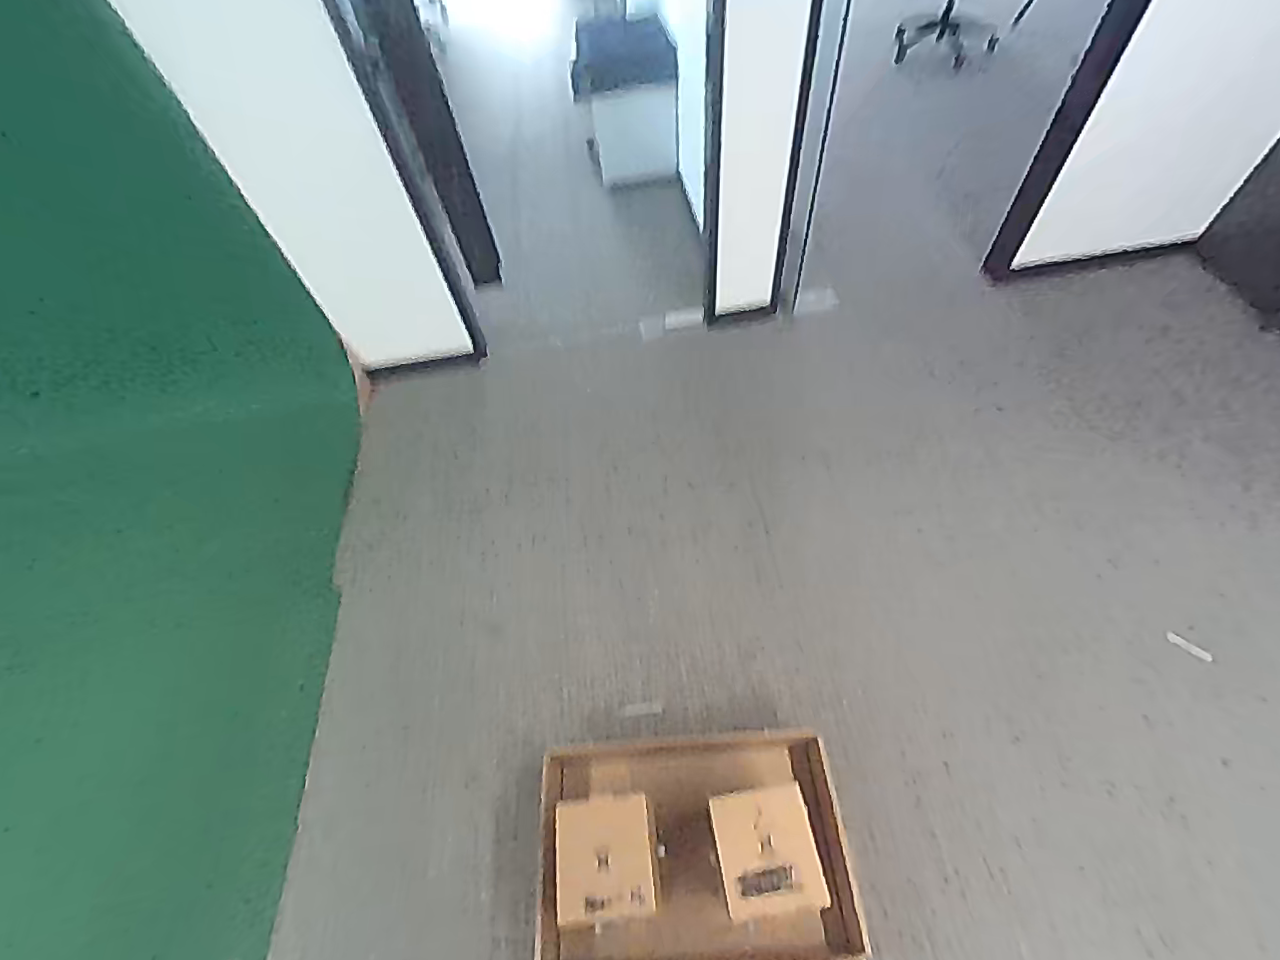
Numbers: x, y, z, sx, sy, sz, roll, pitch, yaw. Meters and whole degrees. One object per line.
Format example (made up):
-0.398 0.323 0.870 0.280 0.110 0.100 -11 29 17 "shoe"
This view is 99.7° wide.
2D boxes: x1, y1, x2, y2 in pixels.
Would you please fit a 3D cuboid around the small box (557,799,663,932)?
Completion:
-0.052 0.699 0.981 0.168 0.176 0.179 -8 52 2 "small box"
